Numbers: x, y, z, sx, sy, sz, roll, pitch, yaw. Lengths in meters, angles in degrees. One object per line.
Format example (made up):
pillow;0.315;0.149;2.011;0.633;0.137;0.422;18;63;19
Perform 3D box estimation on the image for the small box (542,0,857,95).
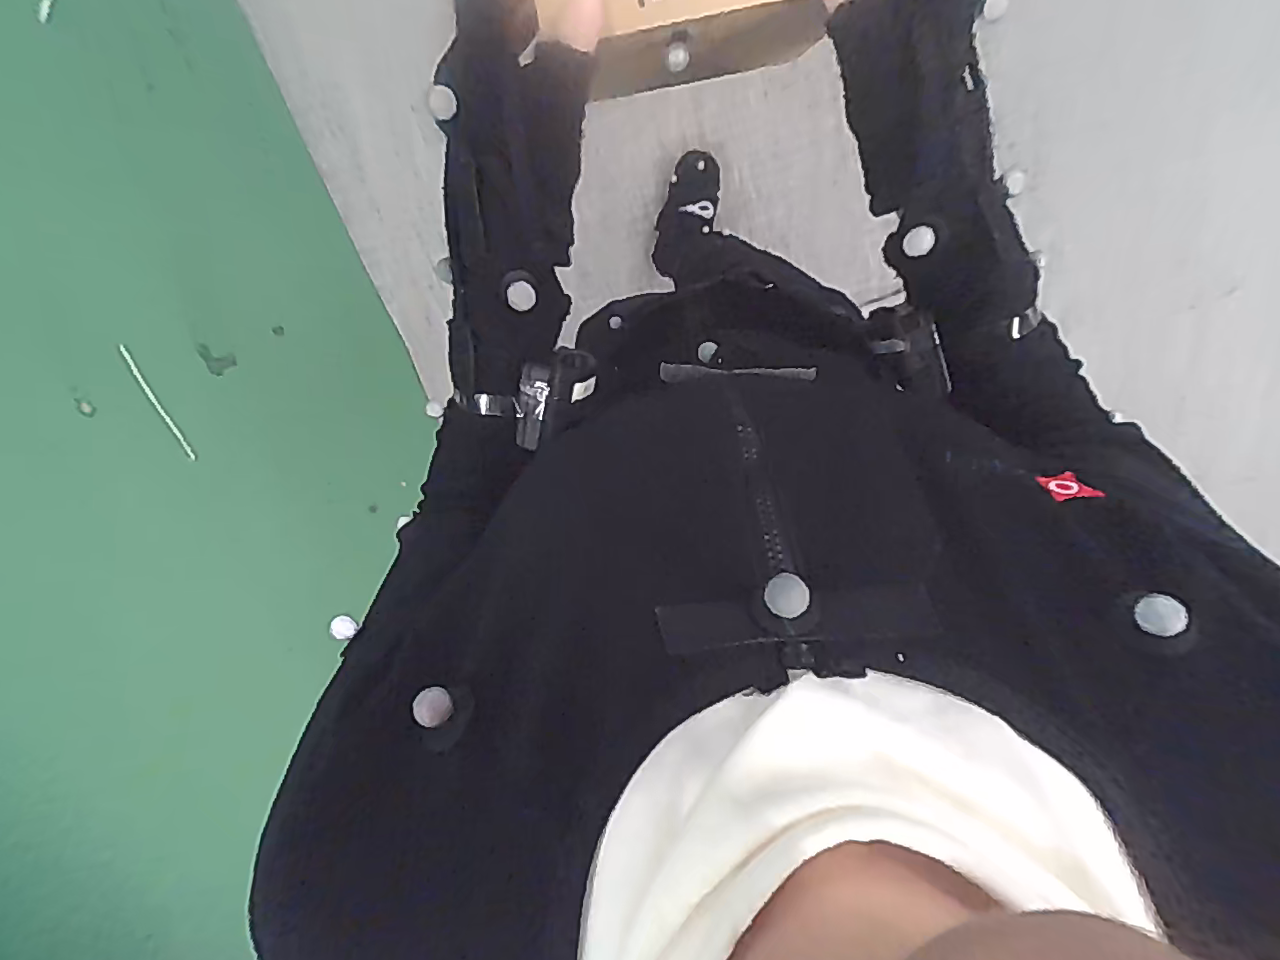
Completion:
small box;0.024;-0.334;0.284;0.168;0.176;0.179;-8;117;5
